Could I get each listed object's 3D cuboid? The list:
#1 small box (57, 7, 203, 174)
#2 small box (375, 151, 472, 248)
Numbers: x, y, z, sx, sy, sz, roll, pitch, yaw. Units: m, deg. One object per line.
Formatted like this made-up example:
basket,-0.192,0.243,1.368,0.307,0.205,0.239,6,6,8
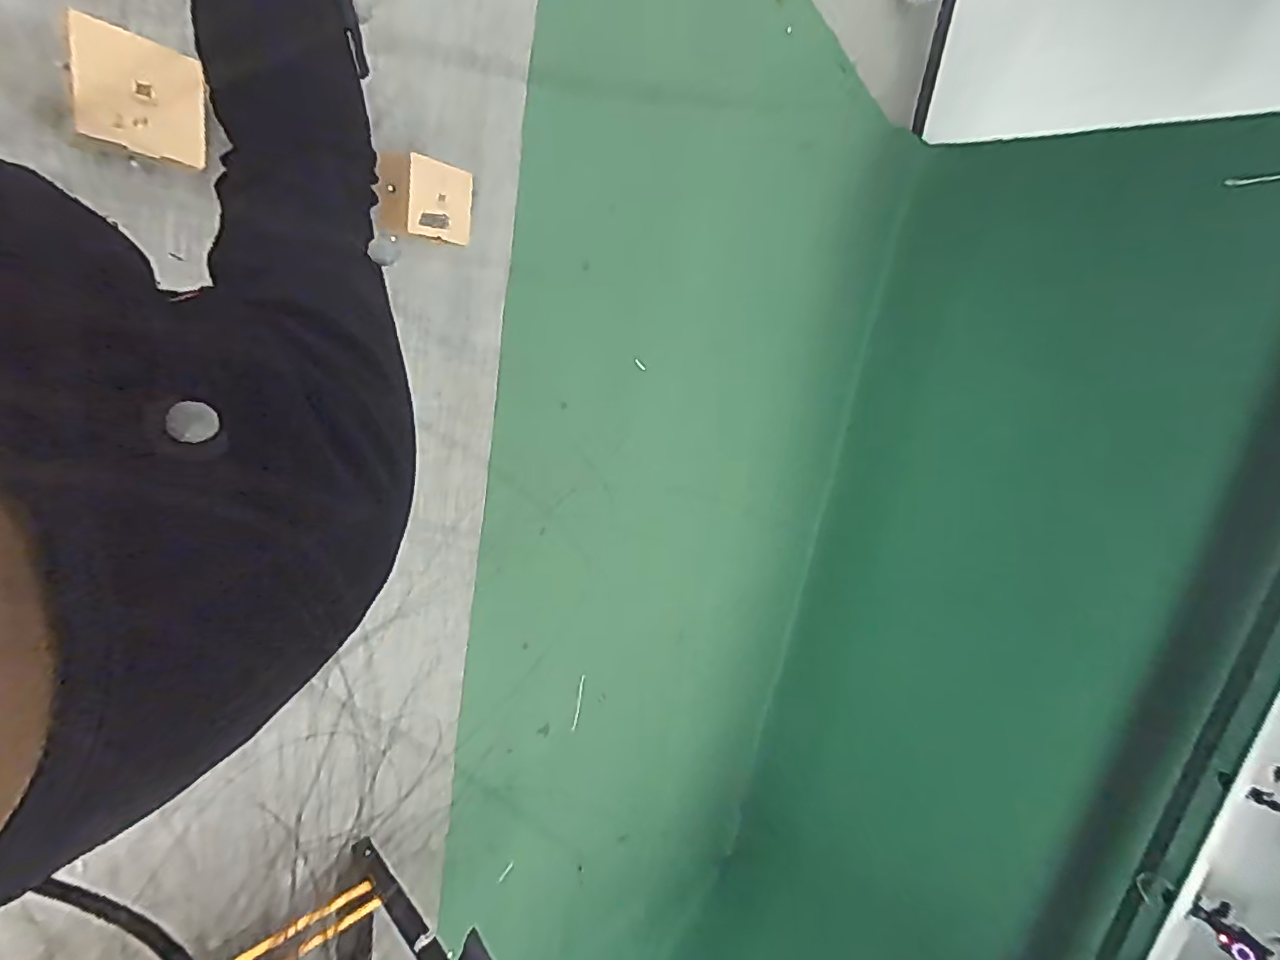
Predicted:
small box,-0.887,-0.659,0.942,0.168,0.176,0.179,-6,111,-49
small box,-0.546,-0.693,1.356,0.168,0.176,0.179,-8,112,-50
